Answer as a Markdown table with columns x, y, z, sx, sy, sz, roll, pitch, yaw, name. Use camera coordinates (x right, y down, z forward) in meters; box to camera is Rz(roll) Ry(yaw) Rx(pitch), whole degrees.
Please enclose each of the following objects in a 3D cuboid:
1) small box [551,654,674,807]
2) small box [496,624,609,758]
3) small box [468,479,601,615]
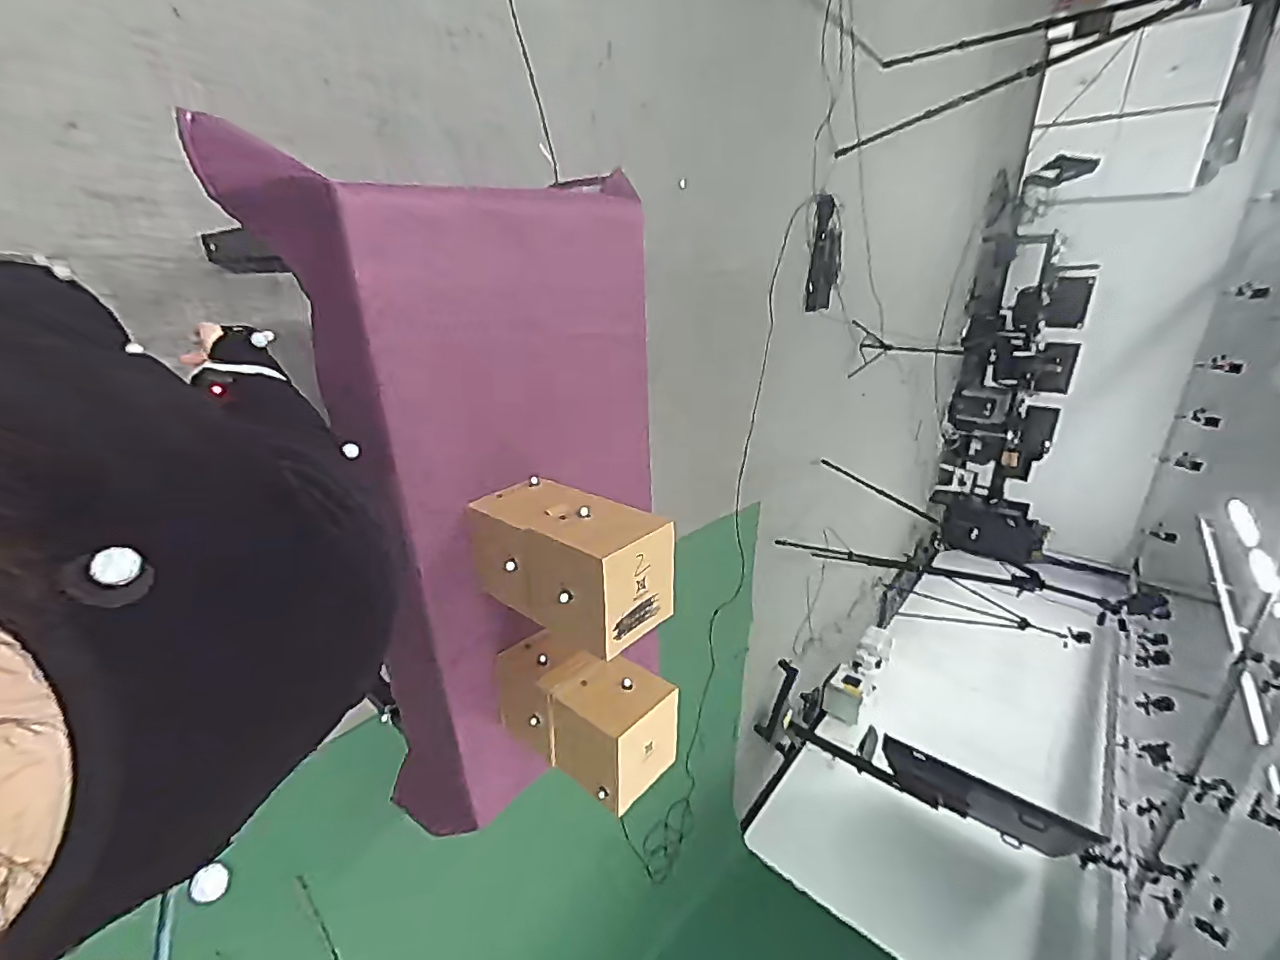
| x | y | z | sx | sy | sz | roll | pitch | yaw | name |
| --- | --- | --- | --- | --- | --- | --- | --- | --- | --- |
| -0.053 | 0.452 | 1.015 | 0.168 | 0.176 | 0.179 | -21 | 120 | -45 | small box |
| -0.180 | 0.417 | 1.110 | 0.168 | 0.176 | 0.179 | -18 | 117 | -46 | small box |
| -0.190 | 0.107 | 0.977 | 0.168 | 0.176 | 0.179 | -26 | 124 | -44 | small box |
